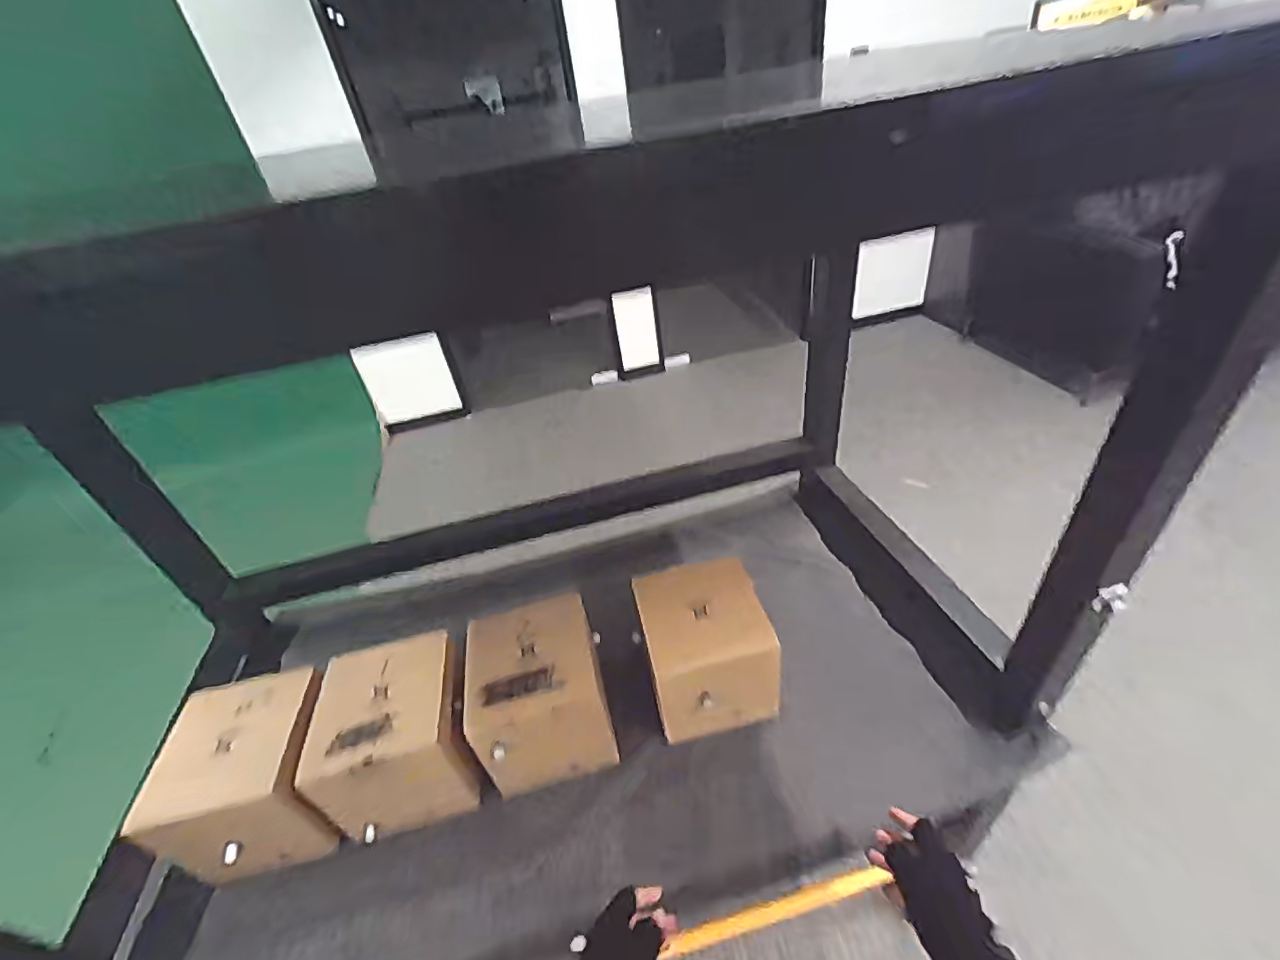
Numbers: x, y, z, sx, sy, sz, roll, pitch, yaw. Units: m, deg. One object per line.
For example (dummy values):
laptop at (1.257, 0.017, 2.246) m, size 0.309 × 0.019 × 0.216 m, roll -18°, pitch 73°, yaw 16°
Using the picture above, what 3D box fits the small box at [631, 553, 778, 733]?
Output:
small box at (0.091, 0.238, 0.779) m, size 0.168 × 0.176 × 0.179 m, roll -12°, pitch 36°, yaw -5°

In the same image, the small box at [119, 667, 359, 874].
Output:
small box at (-0.499, 0.384, 0.712) m, size 0.168 × 0.176 × 0.179 m, roll -11°, pitch 36°, yaw -5°
